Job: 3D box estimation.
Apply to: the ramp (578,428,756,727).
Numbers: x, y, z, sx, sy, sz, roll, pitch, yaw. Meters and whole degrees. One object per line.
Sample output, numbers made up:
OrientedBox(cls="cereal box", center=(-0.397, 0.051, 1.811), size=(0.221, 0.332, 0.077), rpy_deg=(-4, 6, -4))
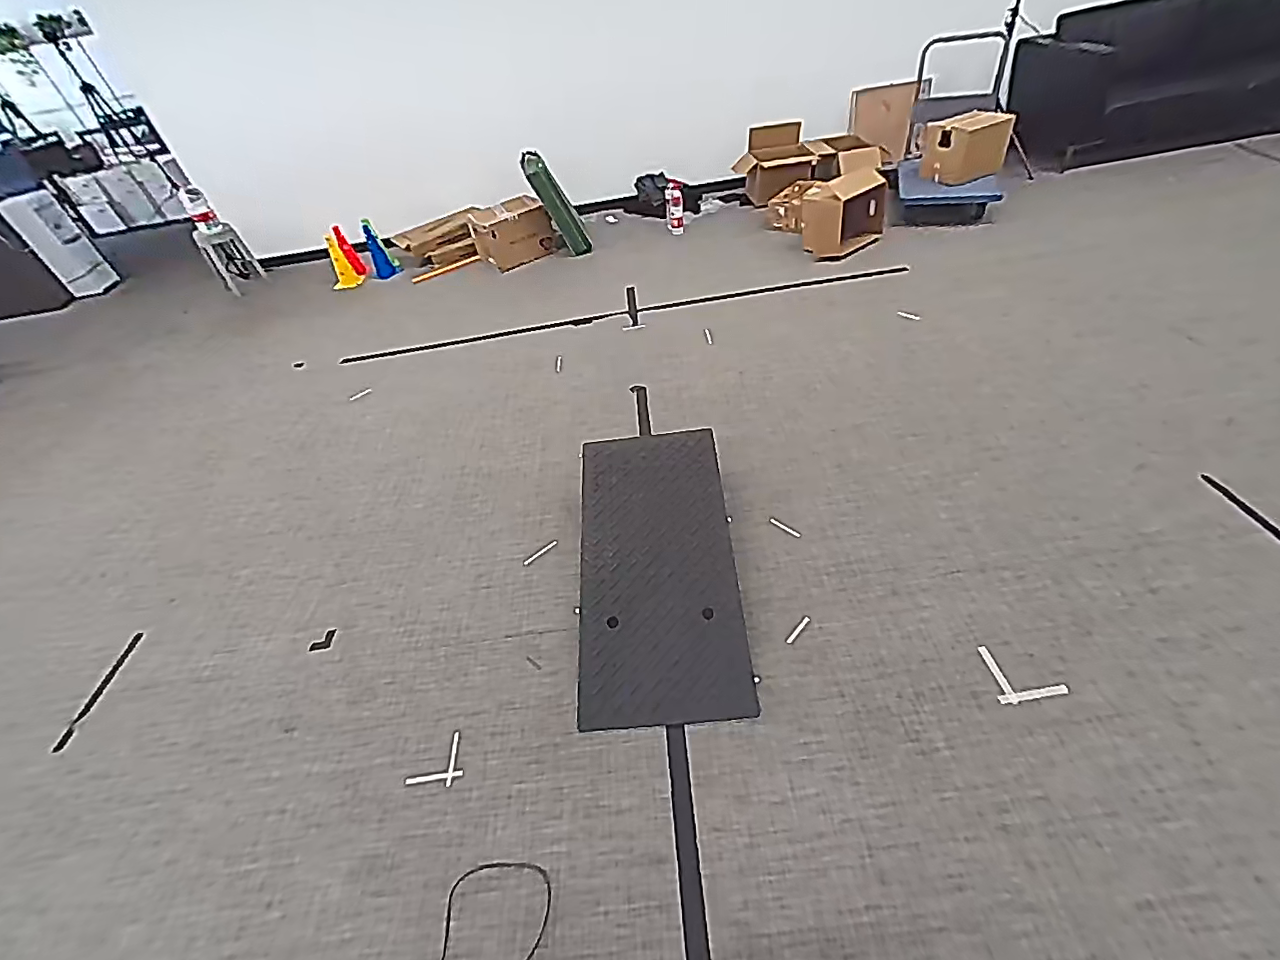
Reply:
OrientedBox(cls="ramp", center=(0.048, 0.240, 1.737), size=(0.509, 0.206, 0.991), rpy_deg=(-7, 44, 2))
